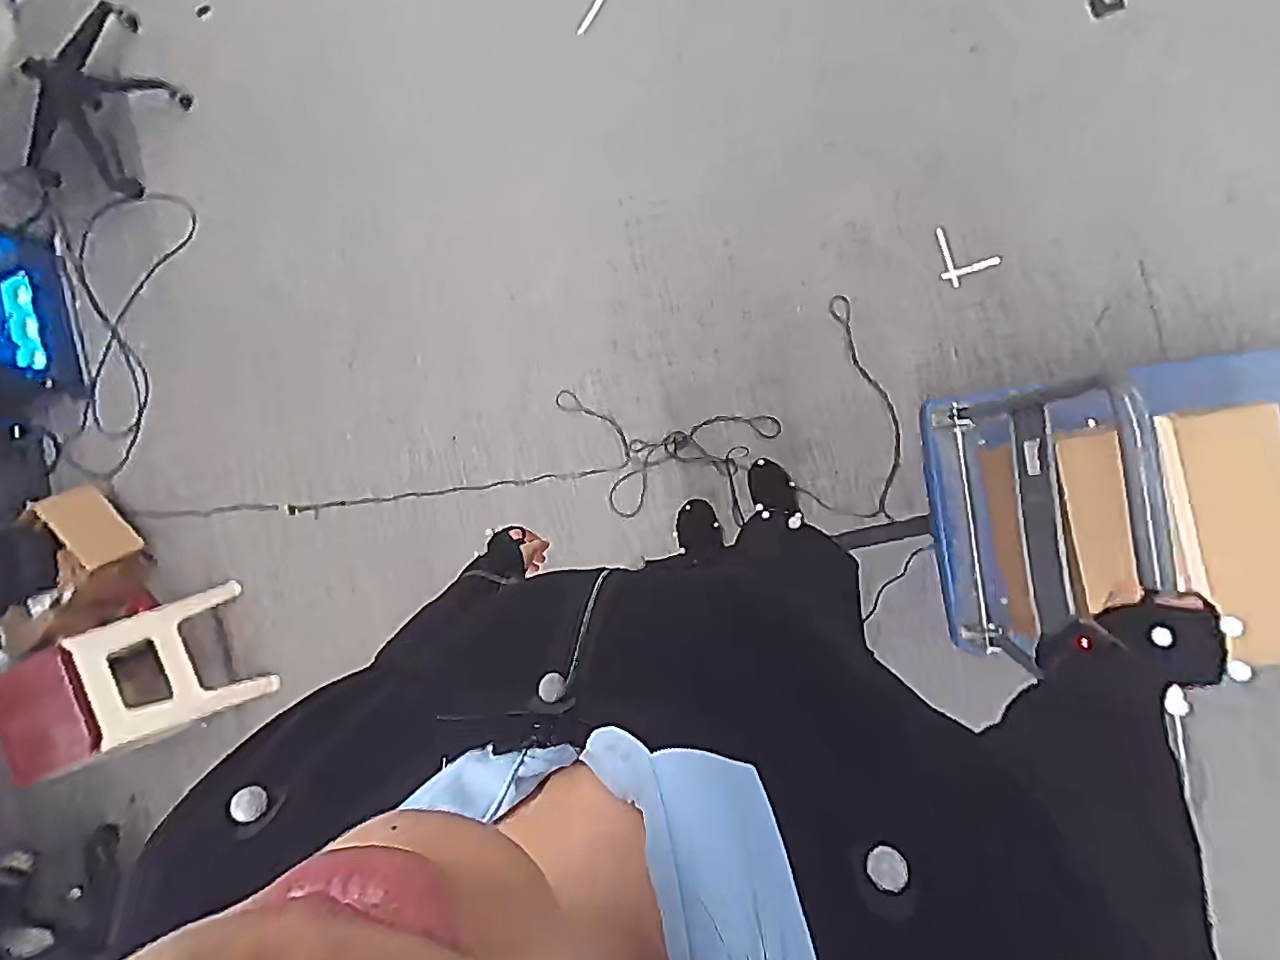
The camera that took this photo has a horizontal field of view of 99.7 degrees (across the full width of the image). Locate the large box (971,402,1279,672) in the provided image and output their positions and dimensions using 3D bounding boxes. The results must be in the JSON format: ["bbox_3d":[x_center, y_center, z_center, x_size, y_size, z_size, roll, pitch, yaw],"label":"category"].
[{"bbox_3d":[0.892,0.095,1.027,0.320,0.320,0.408,-12,89,12],"label":"large box"}]
